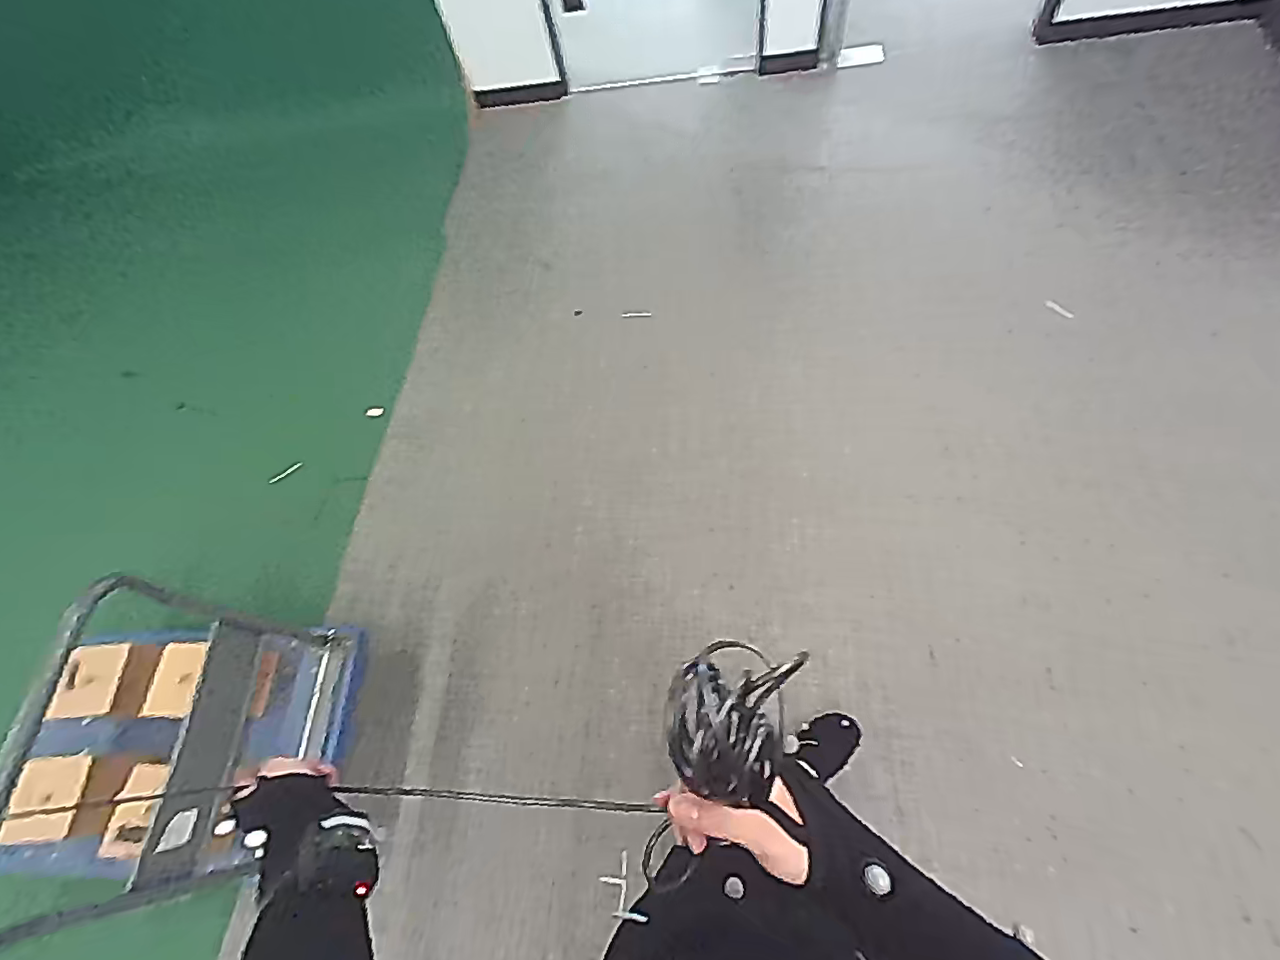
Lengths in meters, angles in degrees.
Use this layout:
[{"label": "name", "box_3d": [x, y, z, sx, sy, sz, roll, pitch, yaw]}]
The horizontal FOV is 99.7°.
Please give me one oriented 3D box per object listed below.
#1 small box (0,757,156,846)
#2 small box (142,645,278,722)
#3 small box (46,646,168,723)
[{"label": "small box", "box_3d": [-1.317, 0.755, 1.281, 0.179, 0.176, 0.168, -7, 63, 6]}, {"label": "small box", "box_3d": [-1.067, 0.514, 1.358, 0.179, 0.176, 0.168, -2, 64, 8]}, {"label": "small box", "box_3d": [-1.334, 0.529, 1.392, 0.179, 0.176, 0.168, -7, 64, 5]}]
